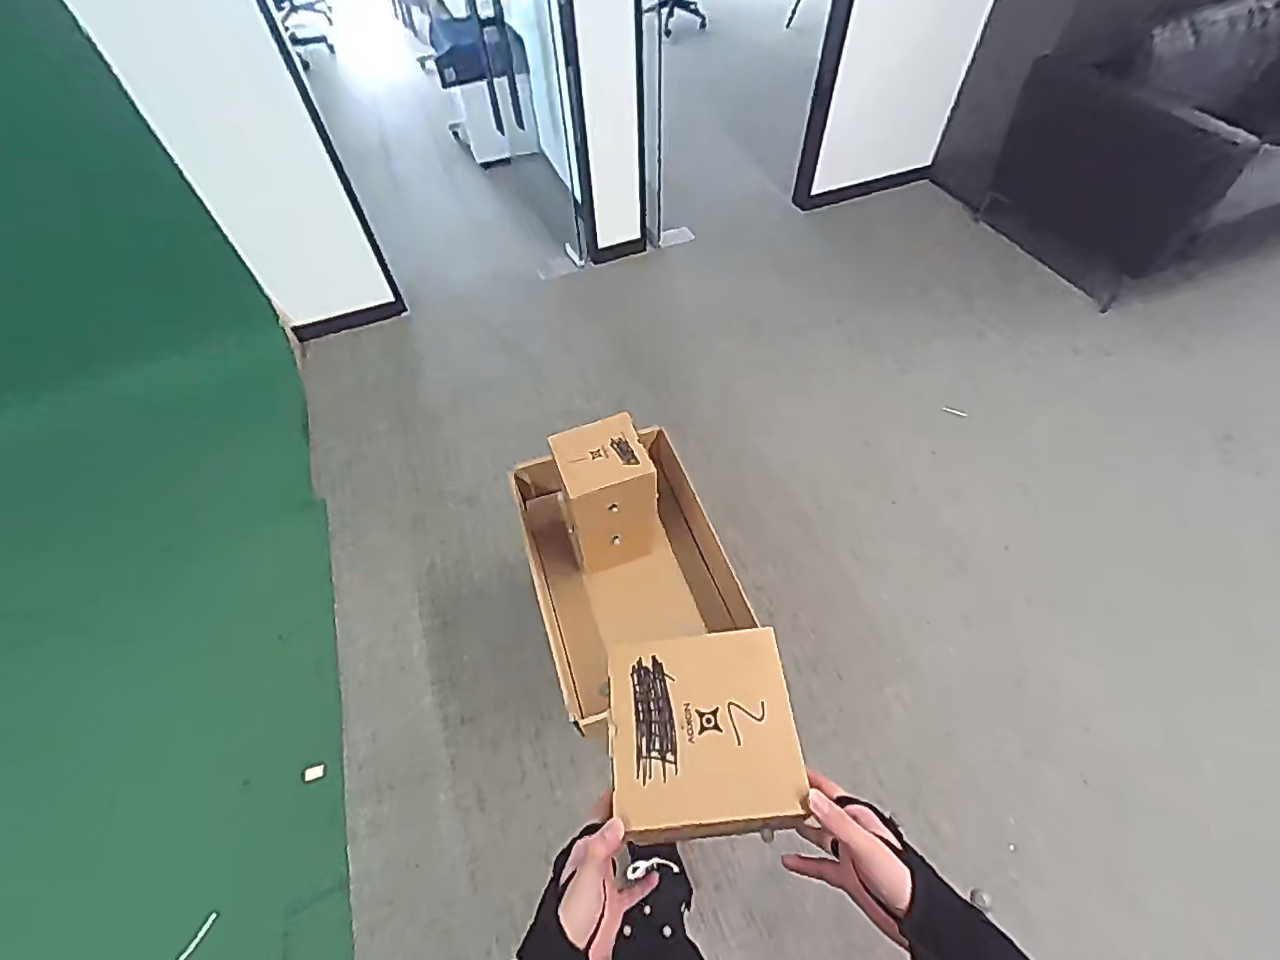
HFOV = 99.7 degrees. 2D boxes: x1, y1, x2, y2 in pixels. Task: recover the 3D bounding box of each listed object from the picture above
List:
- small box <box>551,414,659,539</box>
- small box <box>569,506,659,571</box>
[{"bbox_3d":[-0.069,-0.005,1.118,0.179,0.176,0.168,-18,57,-10],"label":"small box"},{"bbox_3d":[-0.066,0.087,1.255,0.179,0.176,0.168,-16,56,-10],"label":"small box"}]
